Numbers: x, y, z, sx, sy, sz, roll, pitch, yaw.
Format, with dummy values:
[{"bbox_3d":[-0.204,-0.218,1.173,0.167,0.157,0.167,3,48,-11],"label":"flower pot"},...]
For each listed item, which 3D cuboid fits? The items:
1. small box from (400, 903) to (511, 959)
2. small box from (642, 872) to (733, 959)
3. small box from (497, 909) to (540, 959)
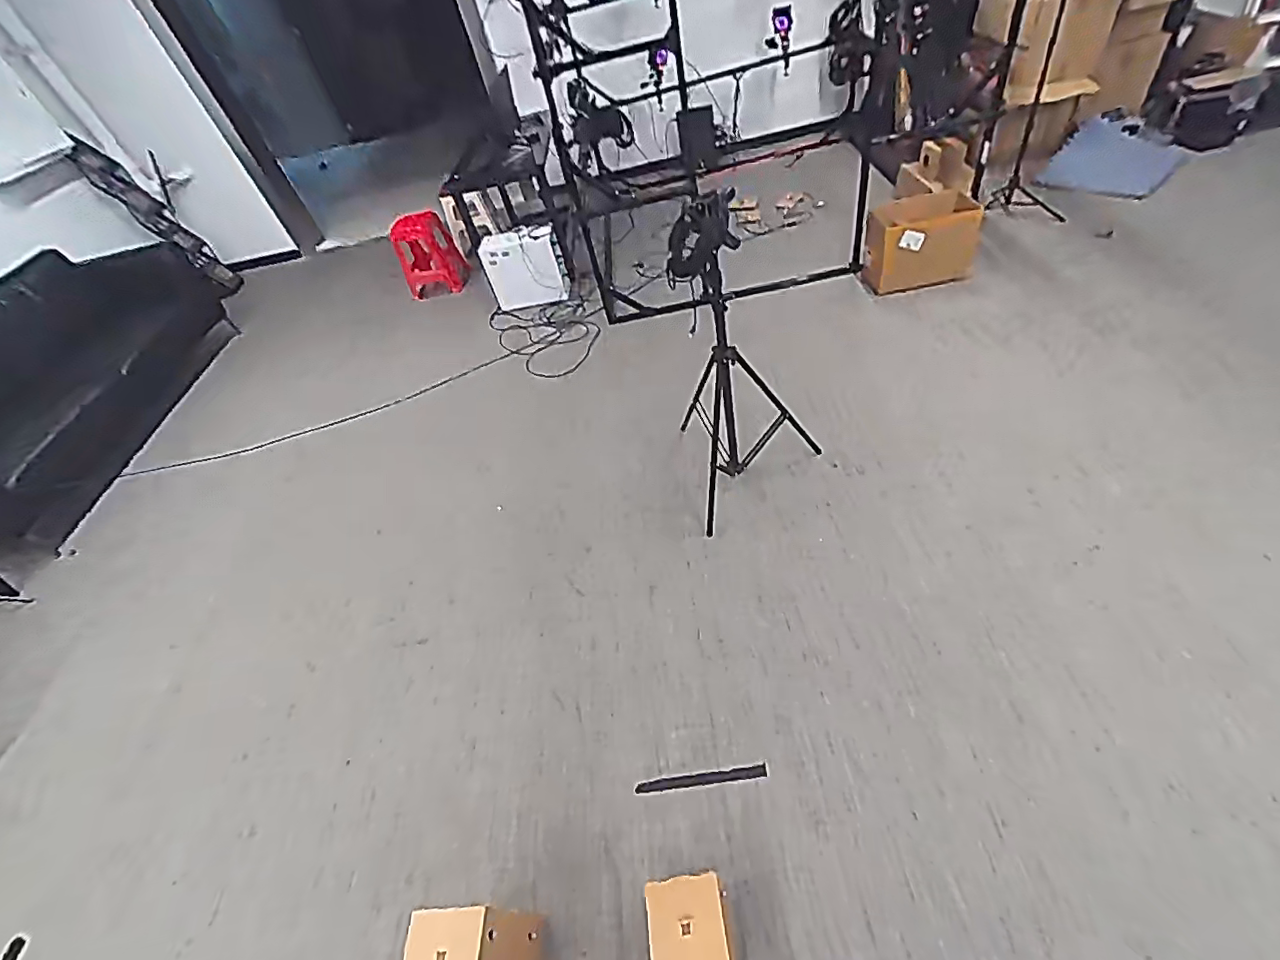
[{"bbox_3d":[-0.377,0.993,1.111,0.168,0.176,0.179,-10,47,8],"label":"small box"},{"bbox_3d":[0.108,0.999,1.200,0.168,0.176,0.179,-12,45,4],"label":"small box"},{"bbox_3d":[-0.336,1.099,1.229,0.168,0.176,0.179,-9,46,9],"label":"small box"}]
